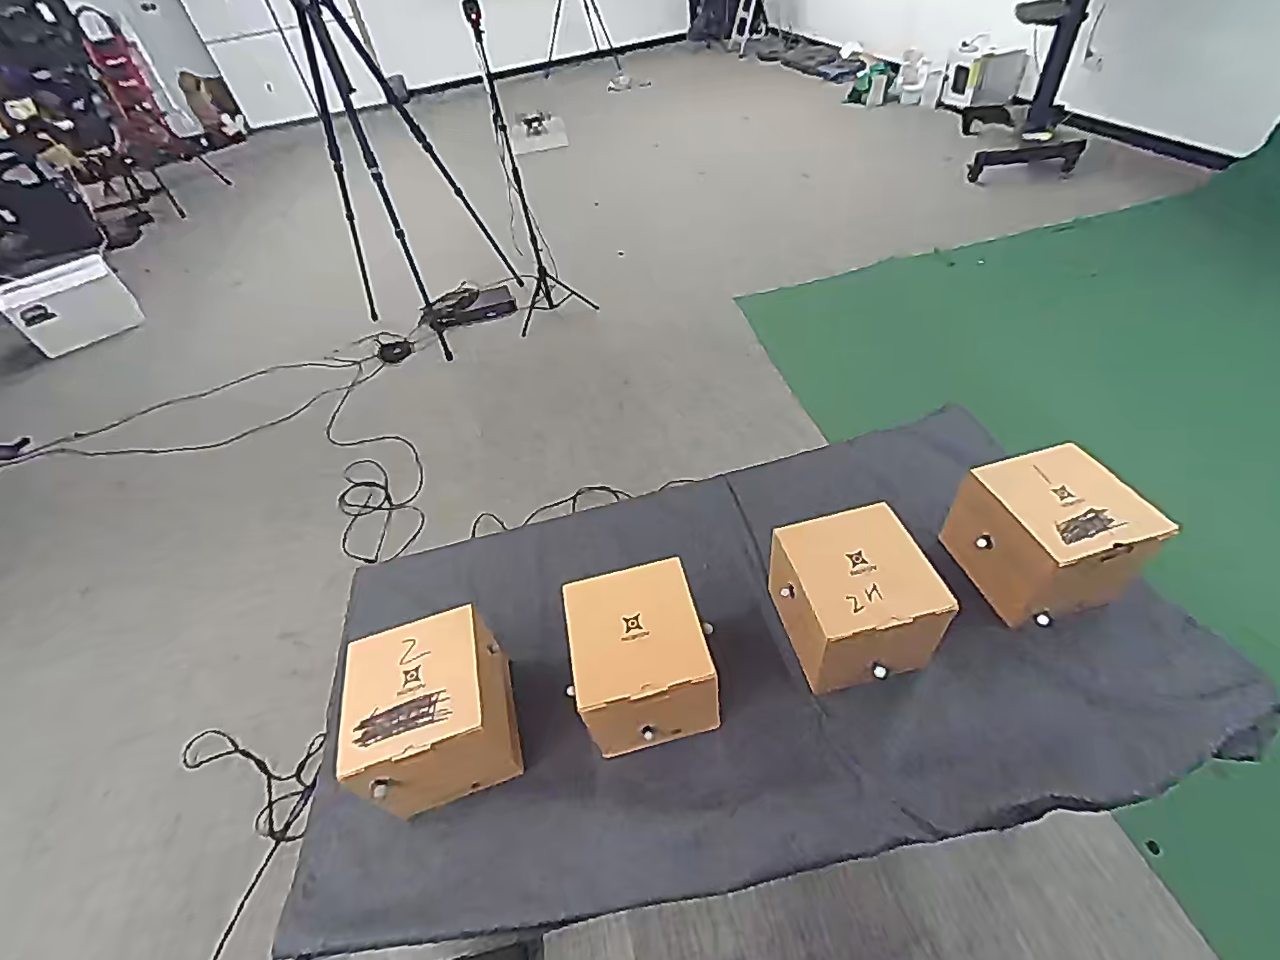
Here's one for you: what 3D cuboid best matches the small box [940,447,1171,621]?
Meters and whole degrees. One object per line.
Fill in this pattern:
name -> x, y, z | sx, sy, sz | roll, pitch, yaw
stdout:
small box -> 0.578, 0.085, 0.783 | 0.168, 0.176, 0.179 | -14, 46, -4

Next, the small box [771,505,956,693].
small box -> 0.291, 0.166, 0.754 | 0.168, 0.176, 0.179 | -13, 47, -3

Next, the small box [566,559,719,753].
small box -> 0.002, 0.239, 0.734 | 0.168, 0.176, 0.179 | -13, 47, -4
